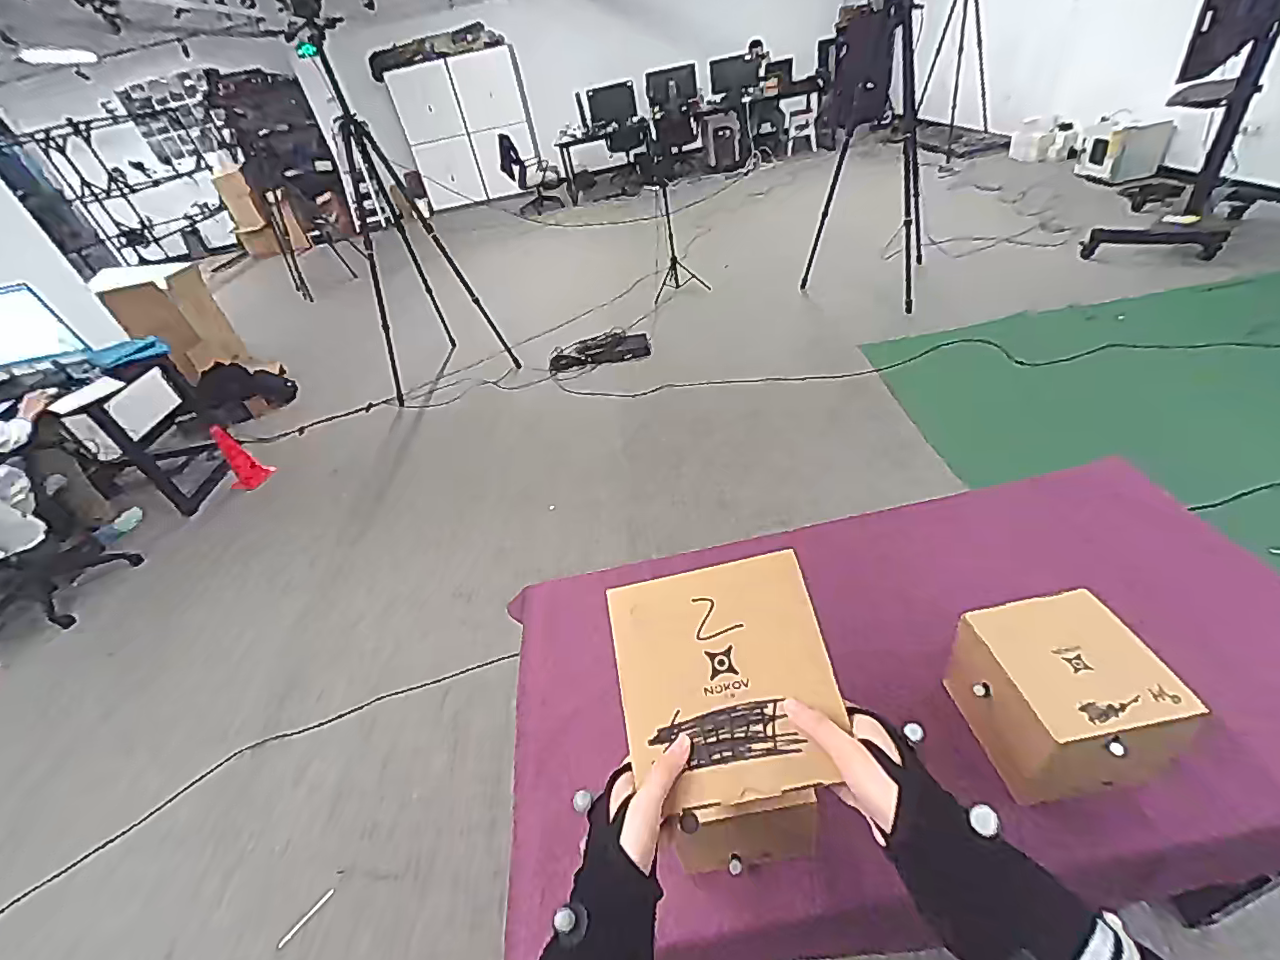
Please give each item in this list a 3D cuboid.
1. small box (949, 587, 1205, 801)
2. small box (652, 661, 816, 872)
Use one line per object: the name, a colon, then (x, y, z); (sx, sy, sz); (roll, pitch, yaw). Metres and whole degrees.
small box: (0.525, 0.270, 0.688); (0.168, 0.176, 0.179); (-14, 37, 2)
small box: (0.116, 0.366, 0.695); (0.168, 0.176, 0.179); (-12, 39, 3)
